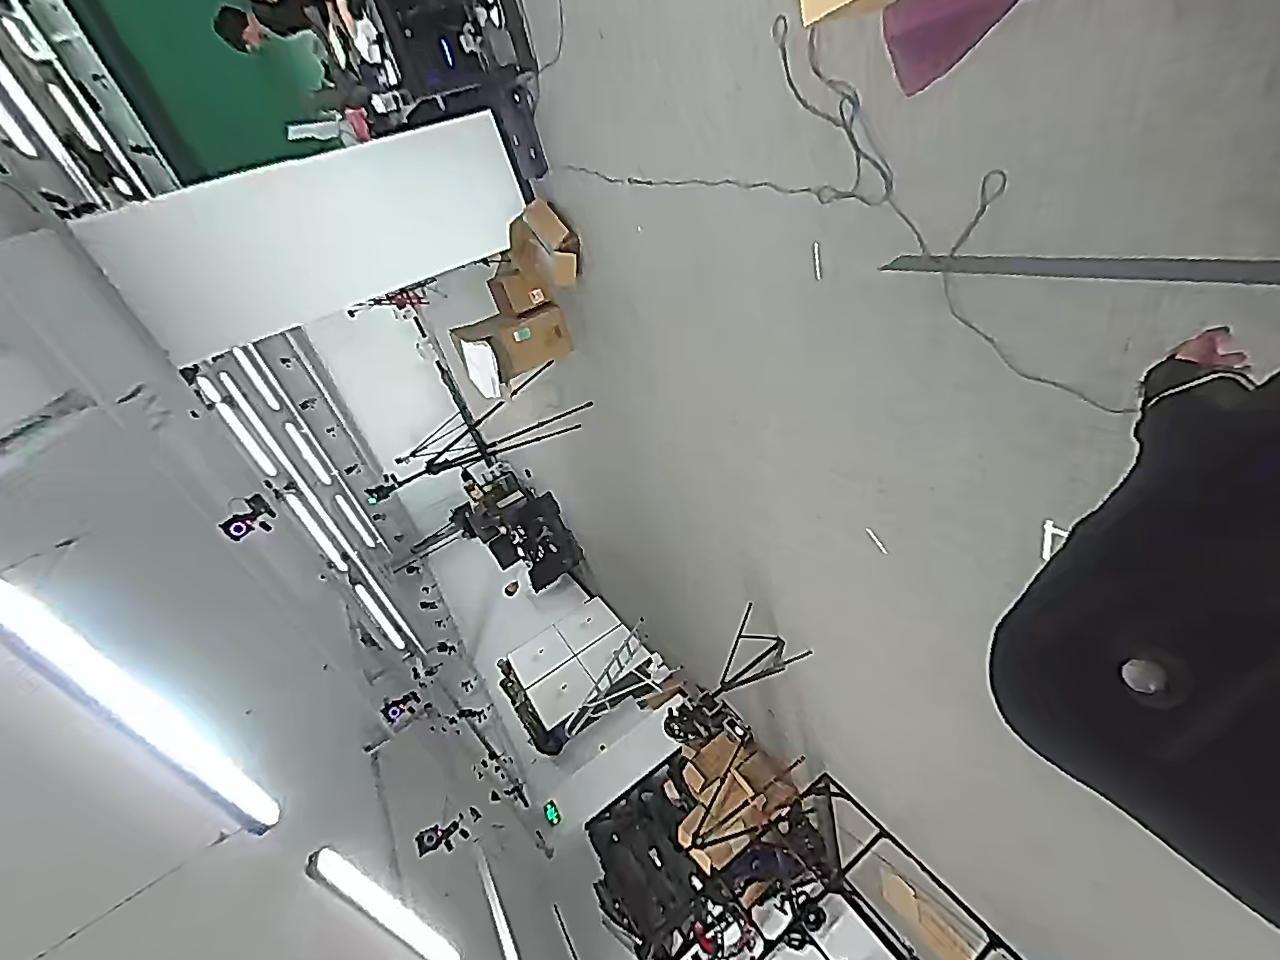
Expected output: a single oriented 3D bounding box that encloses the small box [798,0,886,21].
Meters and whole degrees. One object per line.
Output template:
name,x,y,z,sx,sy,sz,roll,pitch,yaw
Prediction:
small box,0.310,-0.718,0.674,0.179,0.176,0.168,27,142,55
